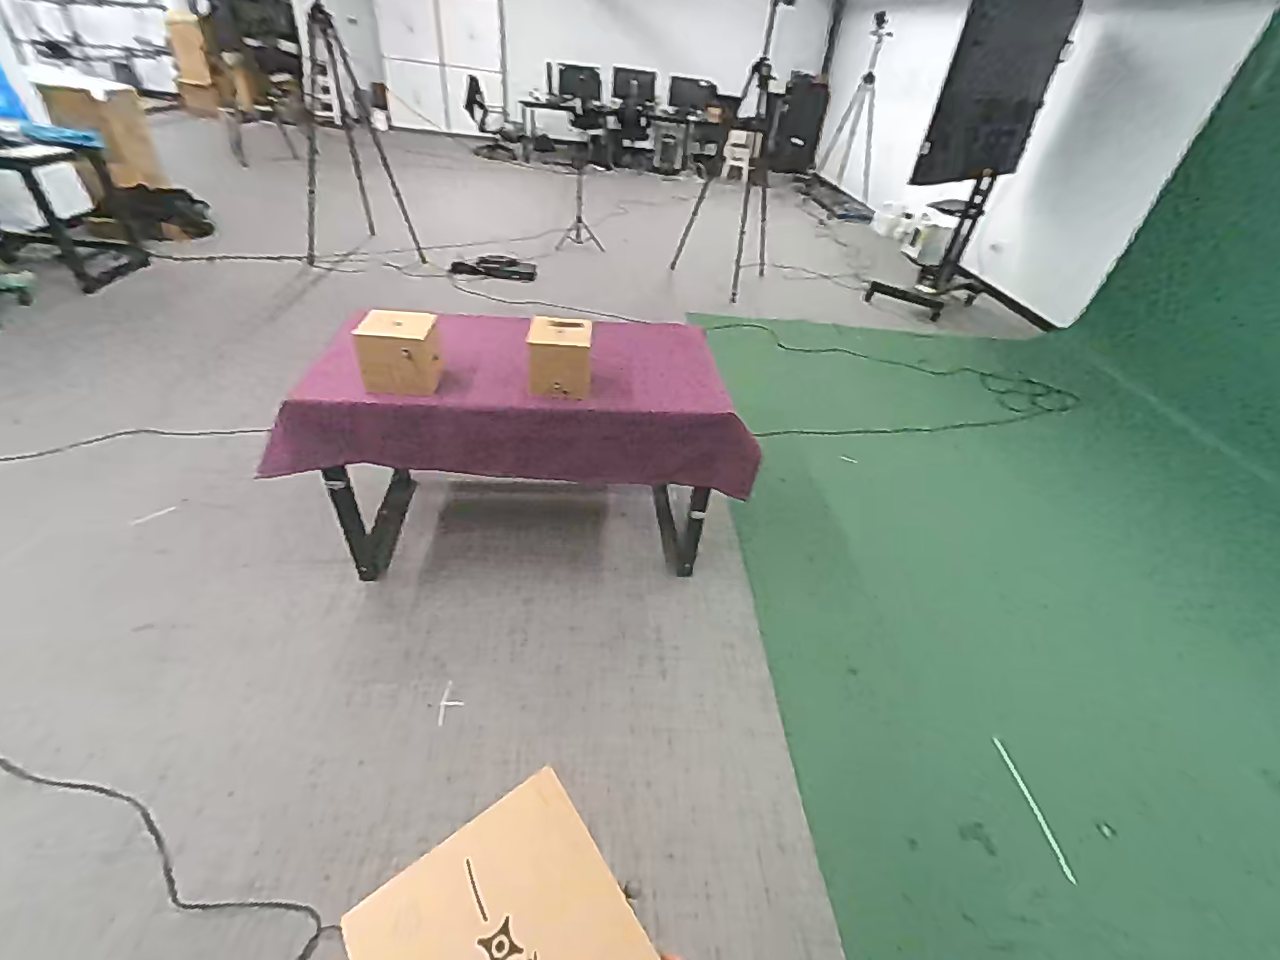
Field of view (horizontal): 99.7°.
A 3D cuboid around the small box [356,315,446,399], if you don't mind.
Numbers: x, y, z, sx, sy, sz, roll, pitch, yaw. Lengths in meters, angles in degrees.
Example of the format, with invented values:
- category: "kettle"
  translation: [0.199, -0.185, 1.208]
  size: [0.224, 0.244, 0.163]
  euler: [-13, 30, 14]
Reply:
- category: "small box"
  translation: [-0.644, -0.336, 1.484]
  size: [0.179, 0.176, 0.168]
  euler: [2, 38, -5]
